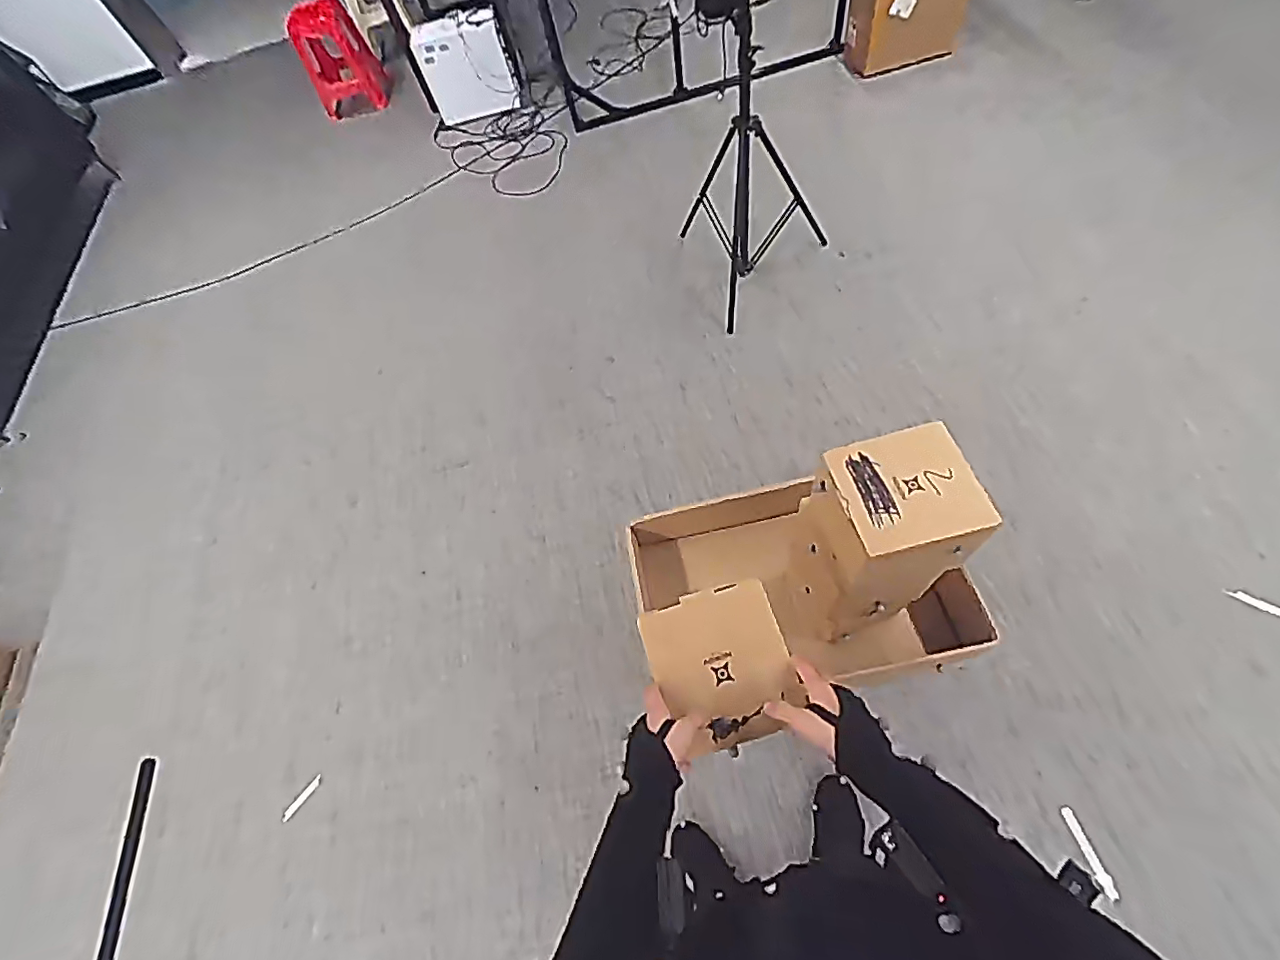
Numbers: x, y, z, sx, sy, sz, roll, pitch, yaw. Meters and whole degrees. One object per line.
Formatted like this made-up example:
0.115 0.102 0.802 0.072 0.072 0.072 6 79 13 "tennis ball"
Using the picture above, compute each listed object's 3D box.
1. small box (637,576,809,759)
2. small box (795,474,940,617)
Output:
0.103 0.247 0.726 0.168 0.176 0.179 -19 71 1 "small box"
0.377 0.119 0.936 0.168 0.176 0.179 -15 61 4 "small box"
